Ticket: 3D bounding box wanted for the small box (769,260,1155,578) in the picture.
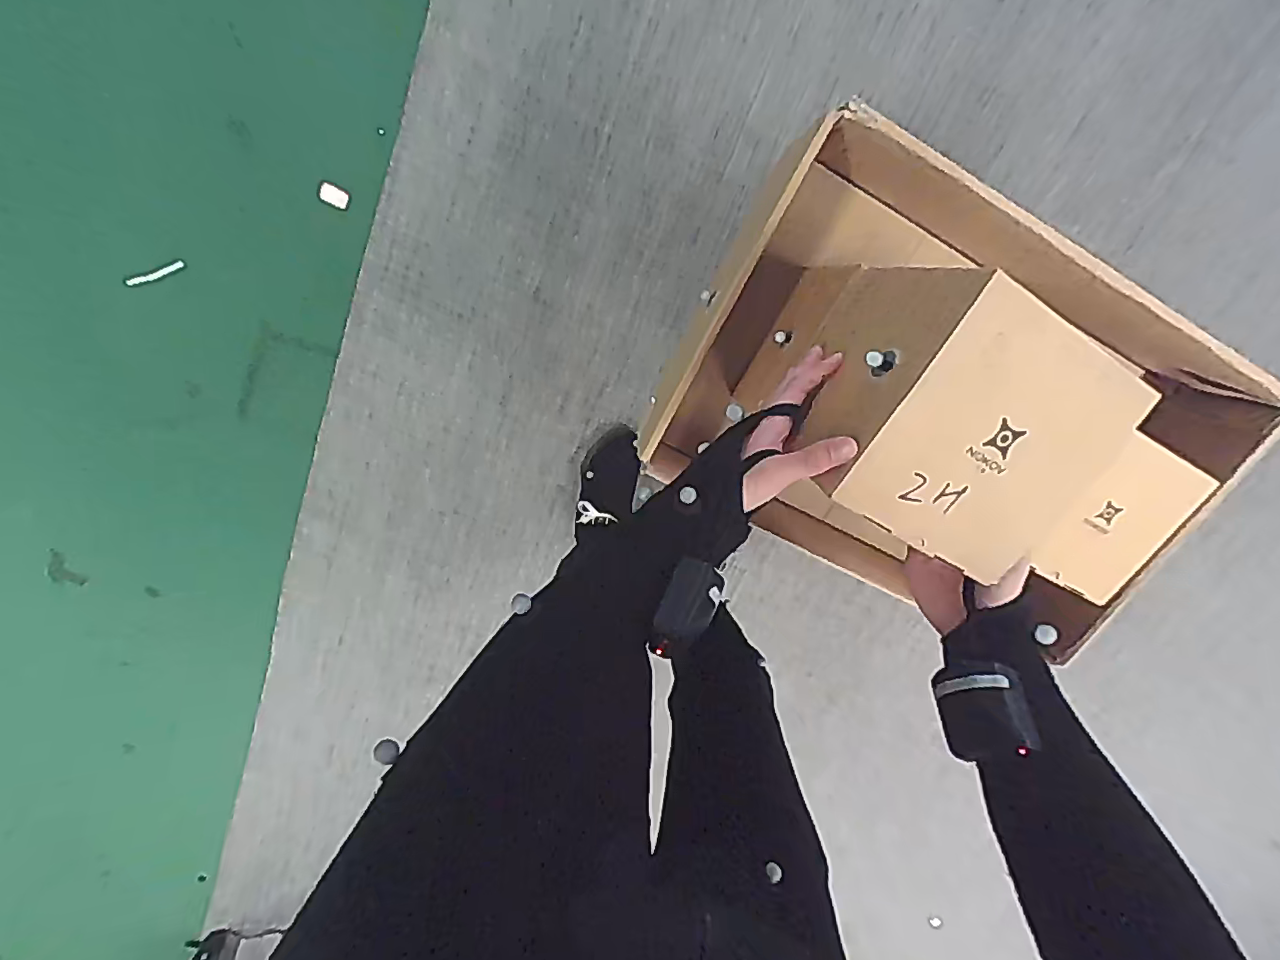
[{"bbox_3d":[0.232,-0.059,0.443,0.168,0.176,0.179,26,108,-14],"label":"small box"}]
